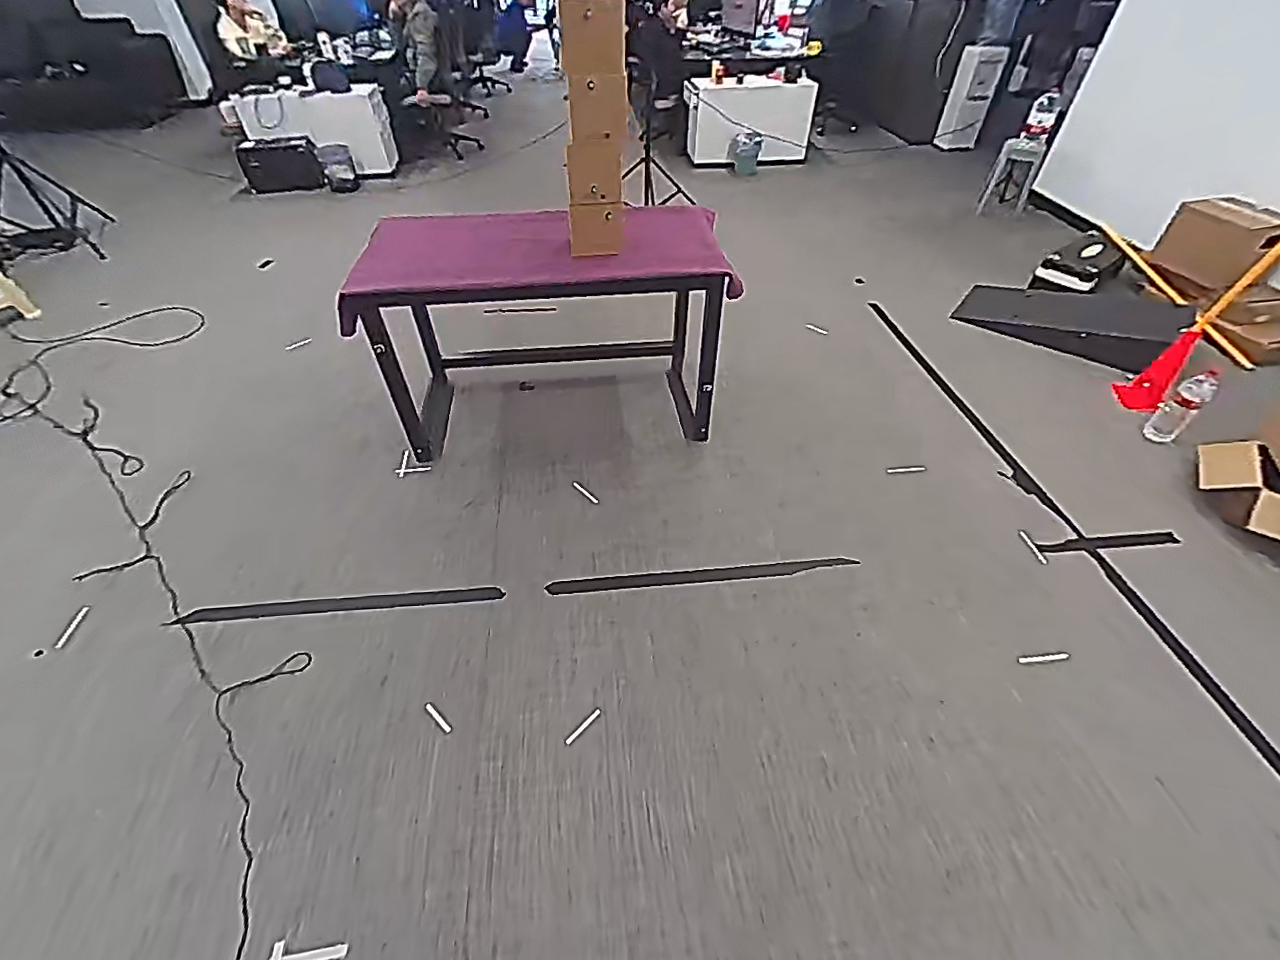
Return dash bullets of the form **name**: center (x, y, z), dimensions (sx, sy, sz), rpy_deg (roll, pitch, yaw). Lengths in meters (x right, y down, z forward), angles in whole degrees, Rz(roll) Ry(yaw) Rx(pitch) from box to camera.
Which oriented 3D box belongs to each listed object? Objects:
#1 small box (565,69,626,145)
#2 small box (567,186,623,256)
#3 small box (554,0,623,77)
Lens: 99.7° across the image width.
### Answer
- **small box**: center (-0.132, -1.103, 1.591), dimensions (0.168, 0.176, 0.179), rpy_deg (-6, 45, -6)
- **small box**: center (-0.151, -0.871, 1.821), dimensions (0.179, 0.176, 0.168), rpy_deg (-6, 45, -5)
- **small box**: center (-0.141, -1.226, 1.483), dimensions (0.179, 0.176, 0.168), rpy_deg (-7, 46, -6)
